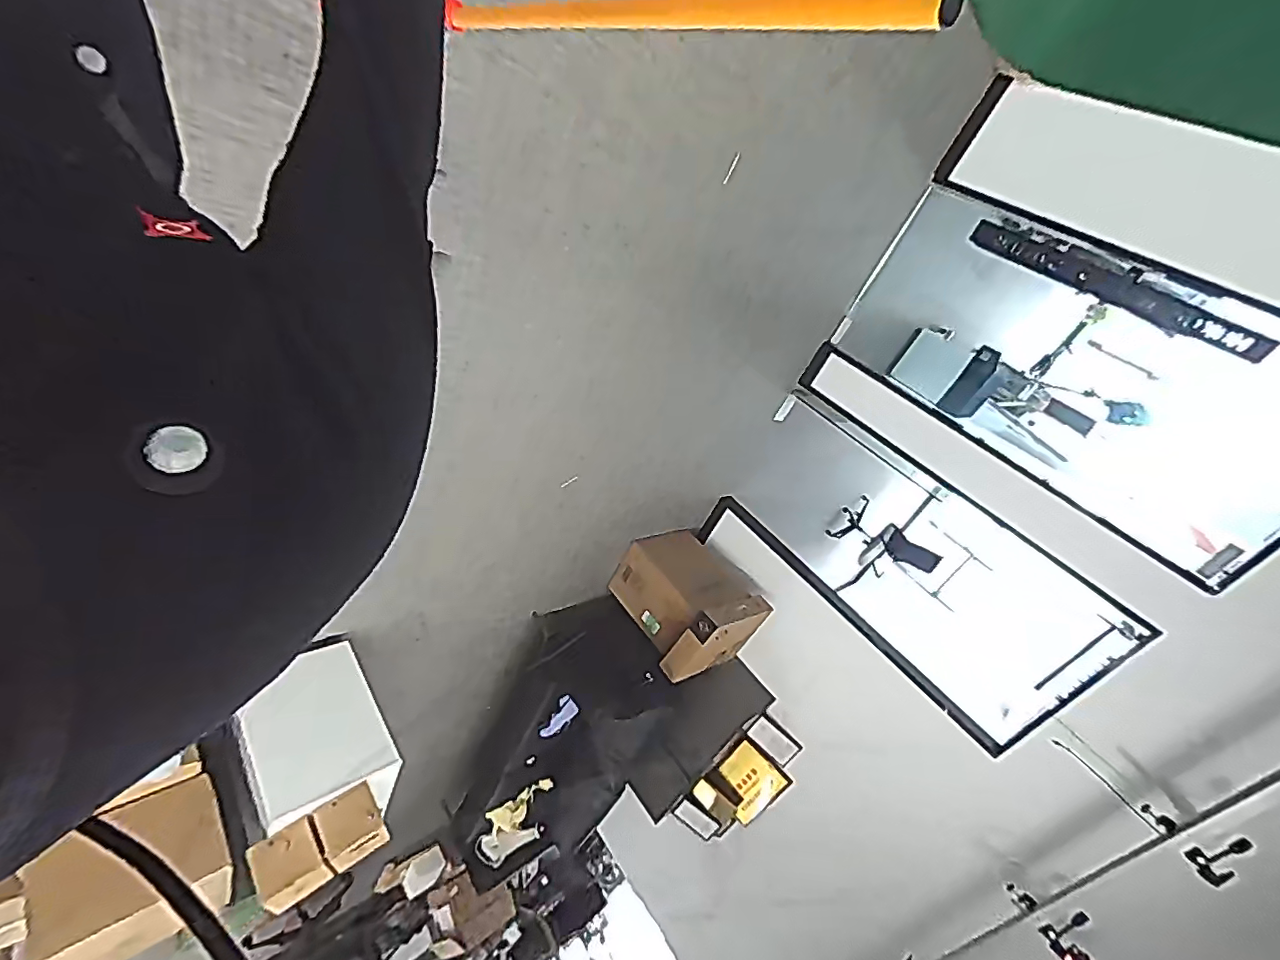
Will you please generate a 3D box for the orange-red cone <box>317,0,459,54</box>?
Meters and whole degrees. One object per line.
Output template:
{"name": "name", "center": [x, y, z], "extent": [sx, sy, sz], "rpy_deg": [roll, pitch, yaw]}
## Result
{"name": "orange-red cone", "center": [-0.415, -0.872, 0.962], "extent": [0.199, 0.360, 0.198], "rpy_deg": [-3, 131, -47]}
